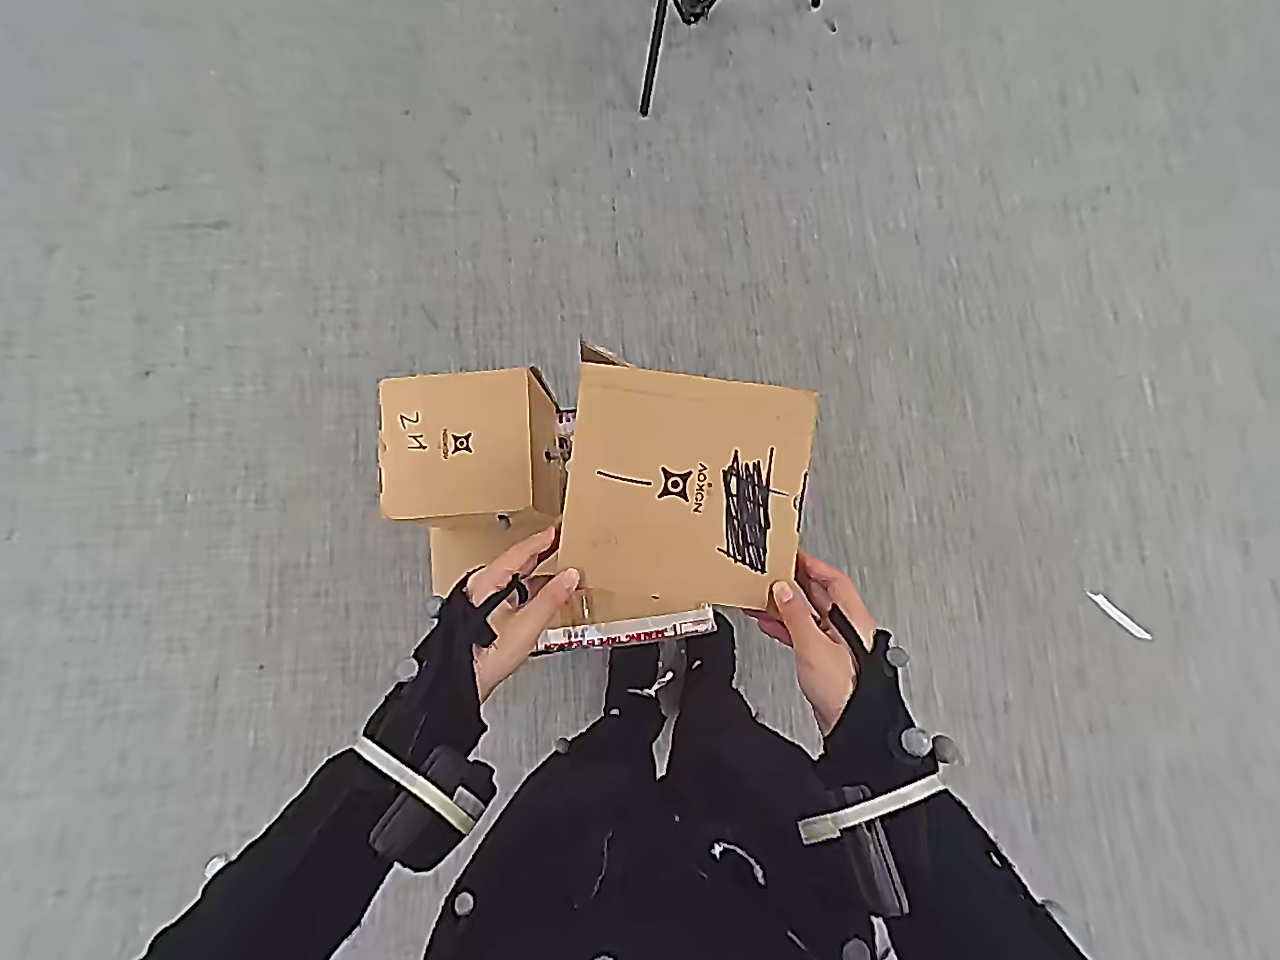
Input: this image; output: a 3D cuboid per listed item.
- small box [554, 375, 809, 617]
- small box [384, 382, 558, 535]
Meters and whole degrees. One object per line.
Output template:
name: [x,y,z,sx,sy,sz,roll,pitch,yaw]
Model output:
small box: [0.031,0.013,0.483,0.179,0.176,0.168,7,89,0]
small box: [-0.204,-0.018,0.697,0.179,0.176,0.168,-4,81,2]
